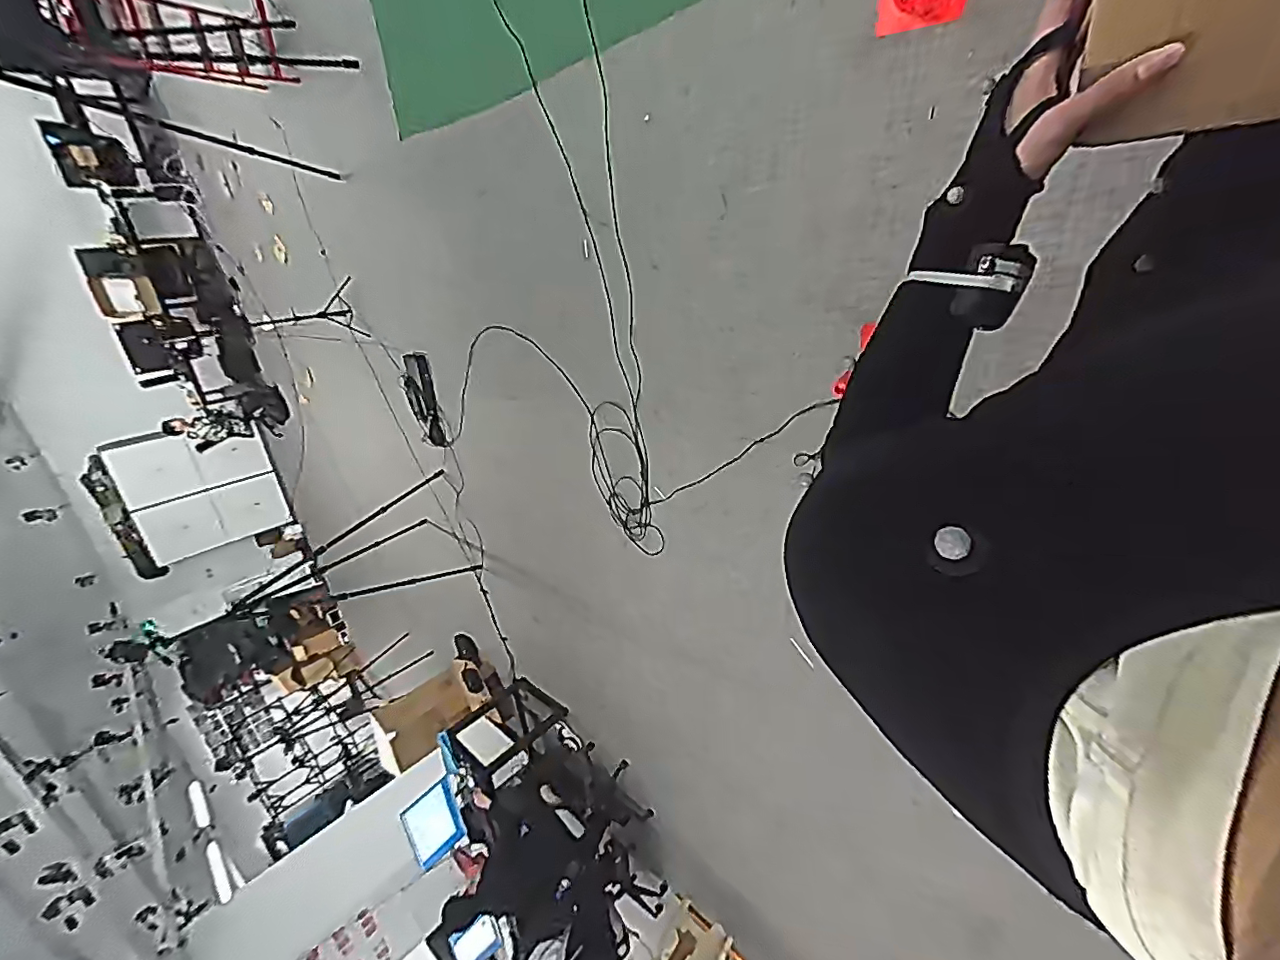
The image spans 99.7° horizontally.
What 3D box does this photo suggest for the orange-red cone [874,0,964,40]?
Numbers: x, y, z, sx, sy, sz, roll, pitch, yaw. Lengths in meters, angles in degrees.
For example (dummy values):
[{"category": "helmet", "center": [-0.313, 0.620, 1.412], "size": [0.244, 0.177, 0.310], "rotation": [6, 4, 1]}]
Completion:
[{"category": "orange-red cone", "center": [0.519, -1.070, 1.106], "size": [0.199, 0.360, 0.198], "rotation": [25, 126, 39]}]
